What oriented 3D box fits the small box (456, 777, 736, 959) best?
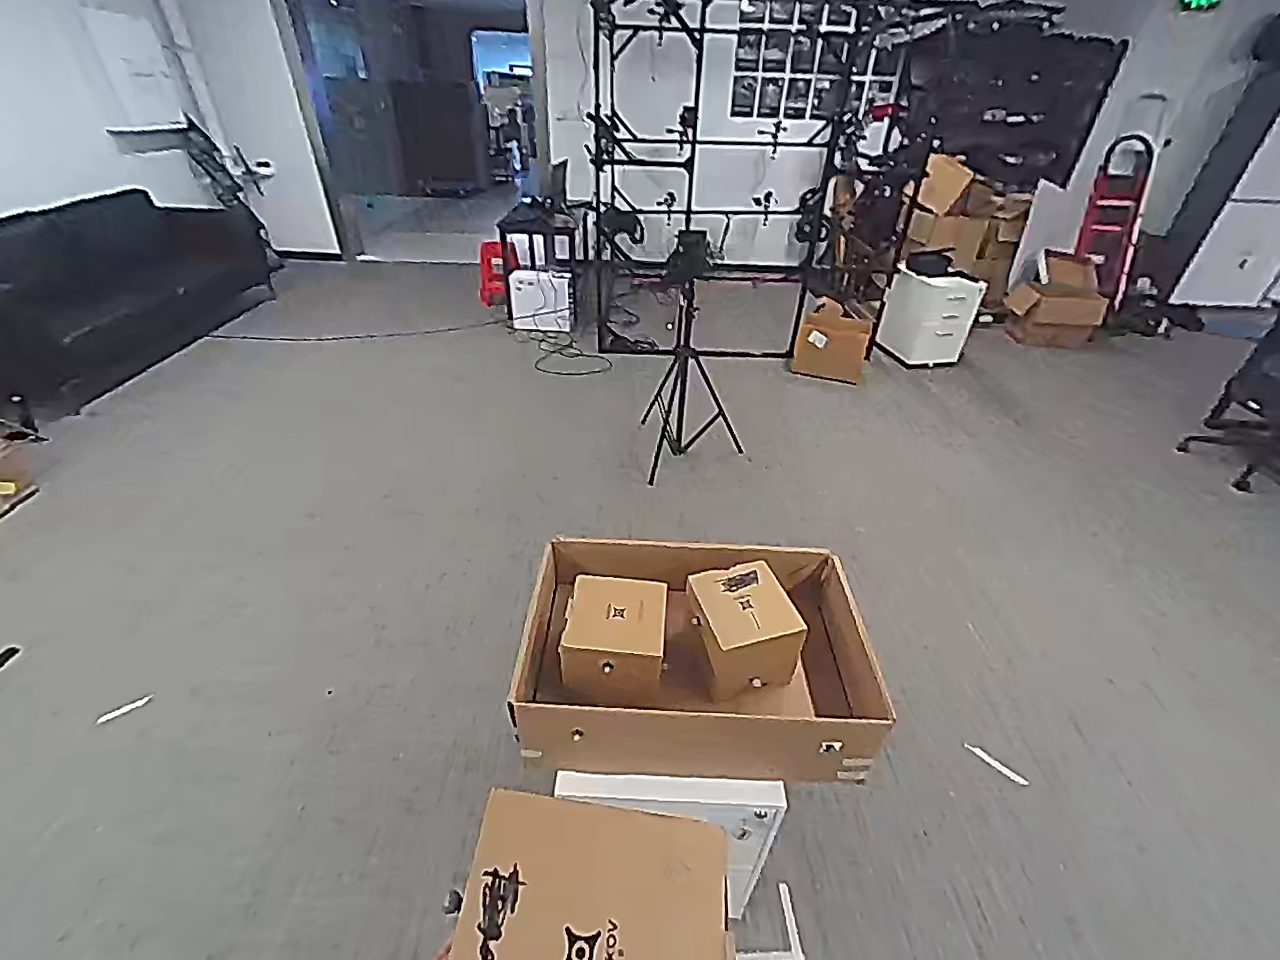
[{"bbox_3d":[-0.041,0.343,0.395,0.179,0.176,0.168,14,45,-5],"label":"small box"}]
